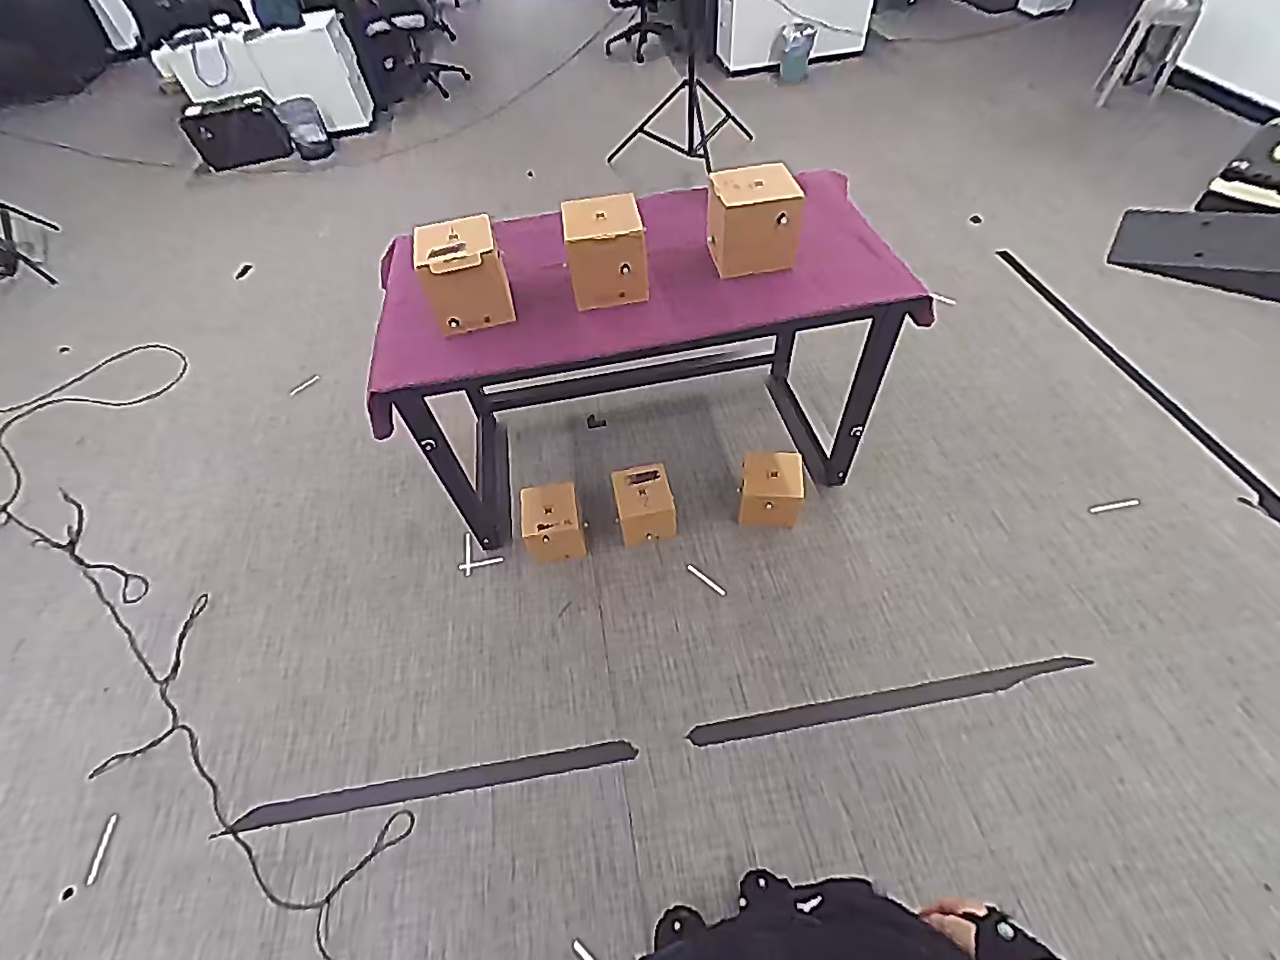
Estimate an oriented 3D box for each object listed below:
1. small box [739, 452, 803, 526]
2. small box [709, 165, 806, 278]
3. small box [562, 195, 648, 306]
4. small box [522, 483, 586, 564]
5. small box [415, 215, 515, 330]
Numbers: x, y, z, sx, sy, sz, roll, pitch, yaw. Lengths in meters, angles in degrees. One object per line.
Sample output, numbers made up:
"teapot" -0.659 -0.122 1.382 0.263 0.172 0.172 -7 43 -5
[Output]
"small box" 0.404 0.032 1.681 0.179 0.176 0.168 3 55 9
"small box" 0.261 -0.592 1.244 0.179 0.176 0.168 -9 52 -1
"small box" -0.076 -0.507 1.214 0.168 0.176 0.179 -9 51 -3
"small box" -0.262 0.134 1.664 0.168 0.176 0.179 -9 52 -1
"small box" -0.382 -0.451 1.197 0.168 0.176 0.179 -14 52 -6
